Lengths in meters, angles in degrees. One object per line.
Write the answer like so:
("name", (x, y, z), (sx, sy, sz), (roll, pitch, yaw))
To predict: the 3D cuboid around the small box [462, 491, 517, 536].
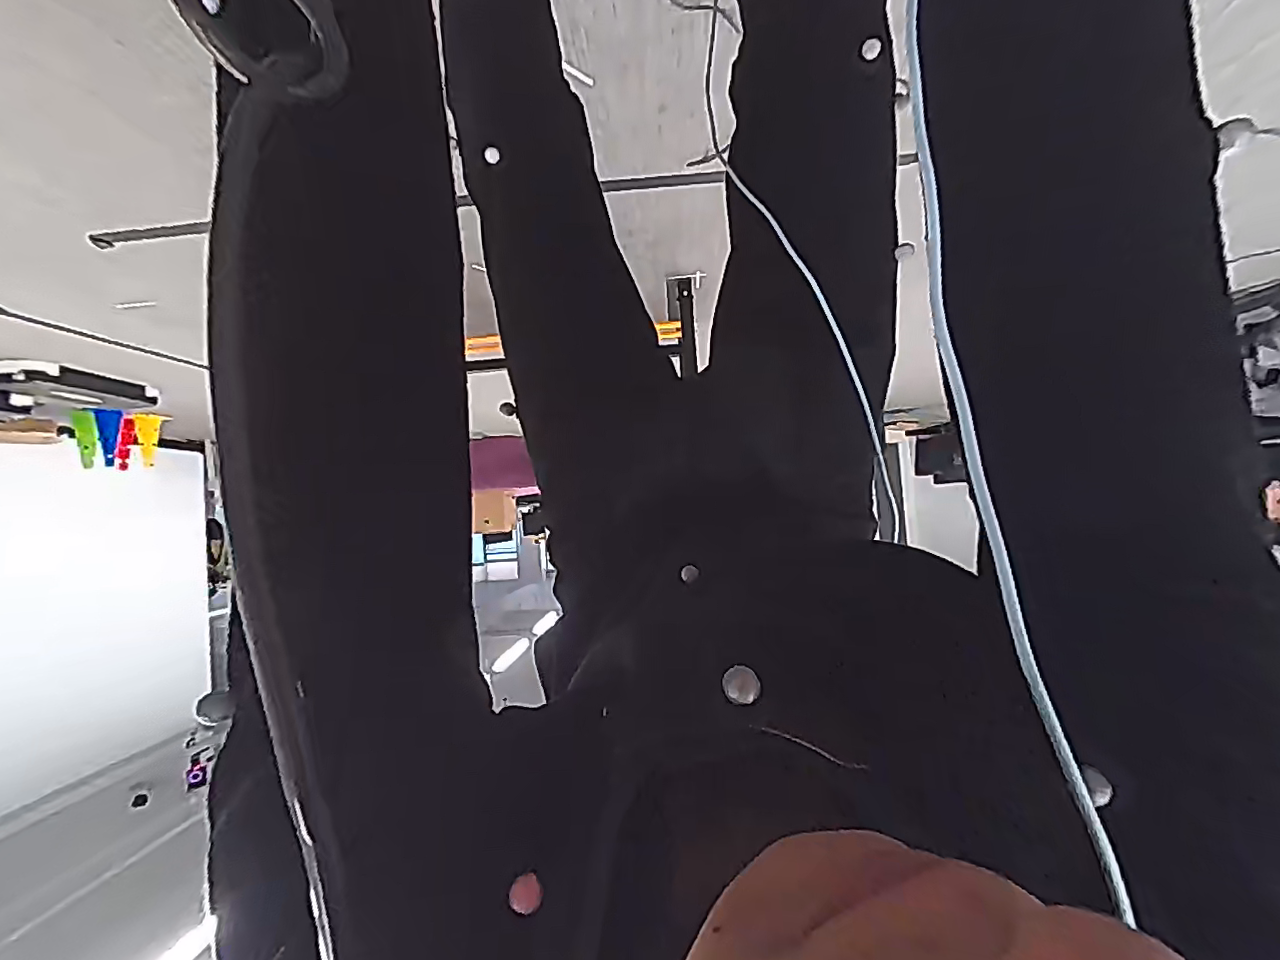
("small box", (-0.616, 0.133, 2.215), (0.179, 0.176, 0.168), (-4, 178, 4))
